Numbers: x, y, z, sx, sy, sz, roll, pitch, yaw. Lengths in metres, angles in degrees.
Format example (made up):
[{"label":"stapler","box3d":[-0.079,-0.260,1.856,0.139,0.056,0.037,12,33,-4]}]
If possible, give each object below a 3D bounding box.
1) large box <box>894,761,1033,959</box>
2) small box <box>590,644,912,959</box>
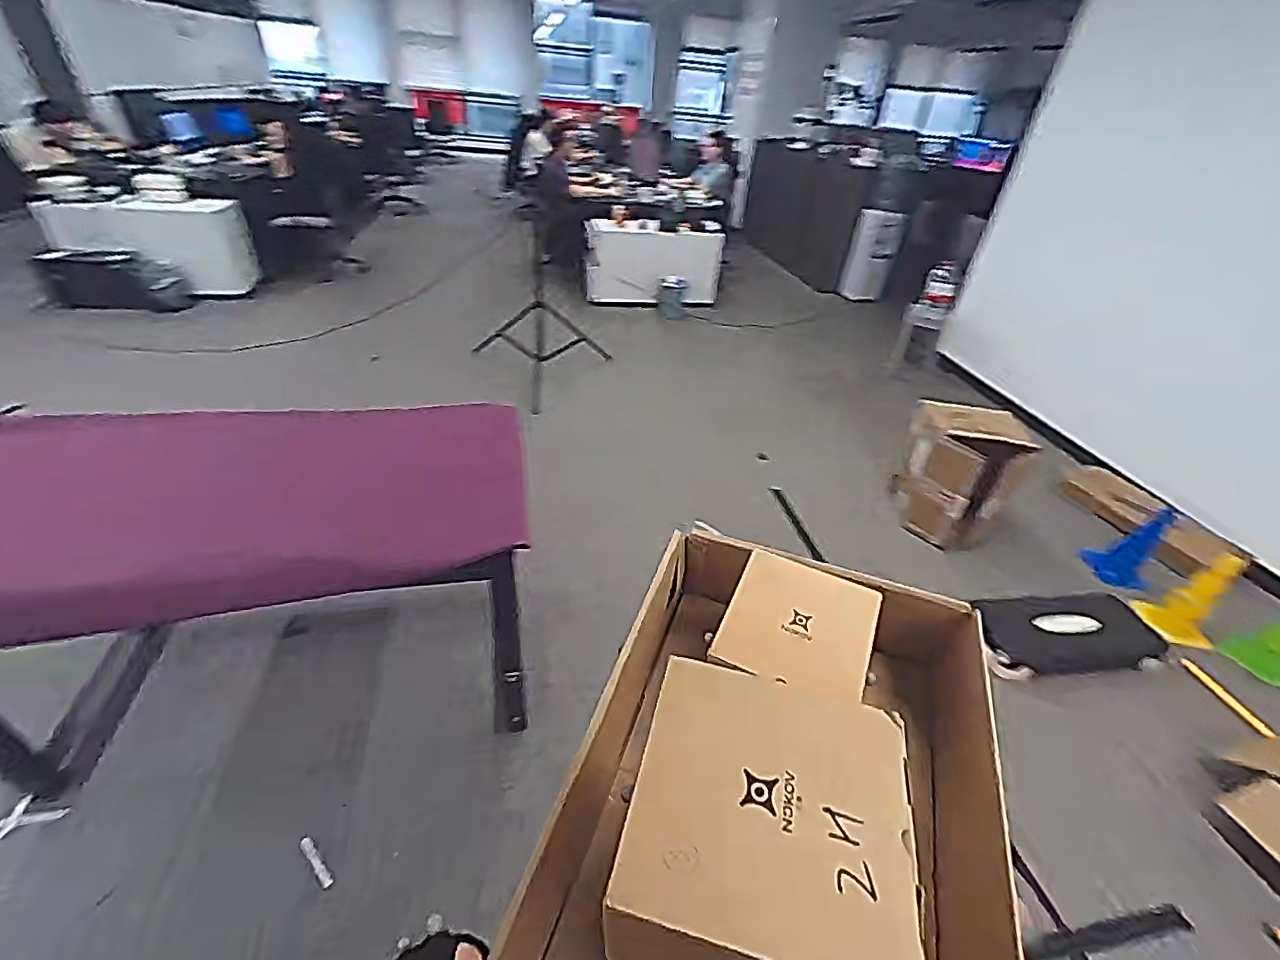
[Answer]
[{"label":"large box","box3d":[0.526,0.890,1.200,0.320,0.320,0.408,-15,40,-26]},{"label":"small box","box3d":[0.073,0.254,0.397,0.179,0.176,0.168,11,42,10]}]
